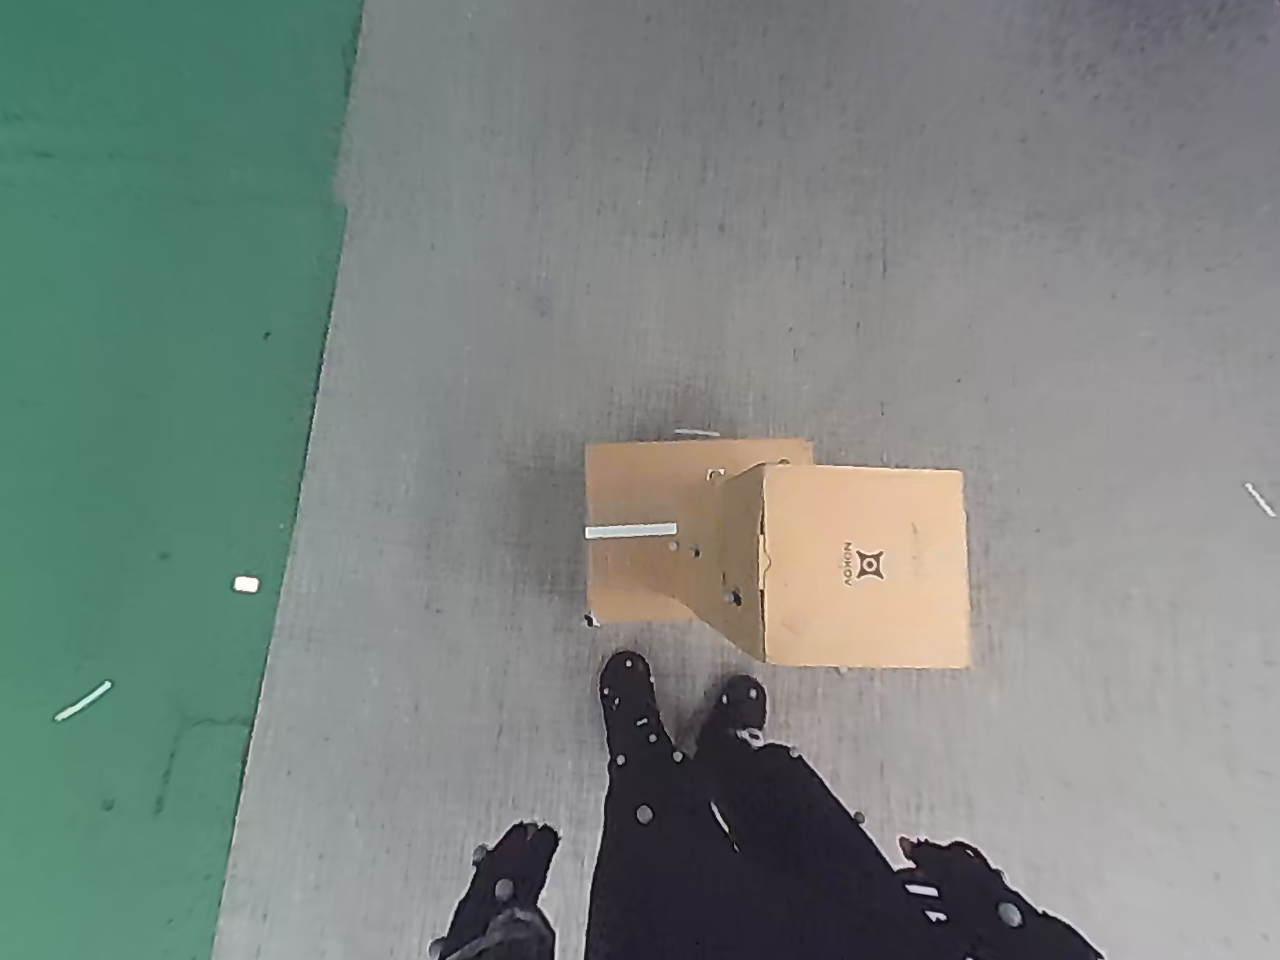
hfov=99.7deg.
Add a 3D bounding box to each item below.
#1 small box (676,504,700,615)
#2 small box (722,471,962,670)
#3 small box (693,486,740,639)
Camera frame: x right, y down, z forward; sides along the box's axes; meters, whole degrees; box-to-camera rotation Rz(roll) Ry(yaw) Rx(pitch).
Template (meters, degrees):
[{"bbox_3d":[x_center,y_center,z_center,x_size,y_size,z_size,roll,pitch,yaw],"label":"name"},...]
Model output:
[{"bbox_3d":[0.156,0.127,0.861,0.179,0.176,0.168,3,81,-2],"label":"small box"},{"bbox_3d":[0.181,0.087,0.539,0.179,0.176,0.168,2,83,-4],"label":"small box"},{"bbox_3d":[0.164,0.103,0.701,0.168,0.176,0.179,0,82,-3],"label":"small box"}]
